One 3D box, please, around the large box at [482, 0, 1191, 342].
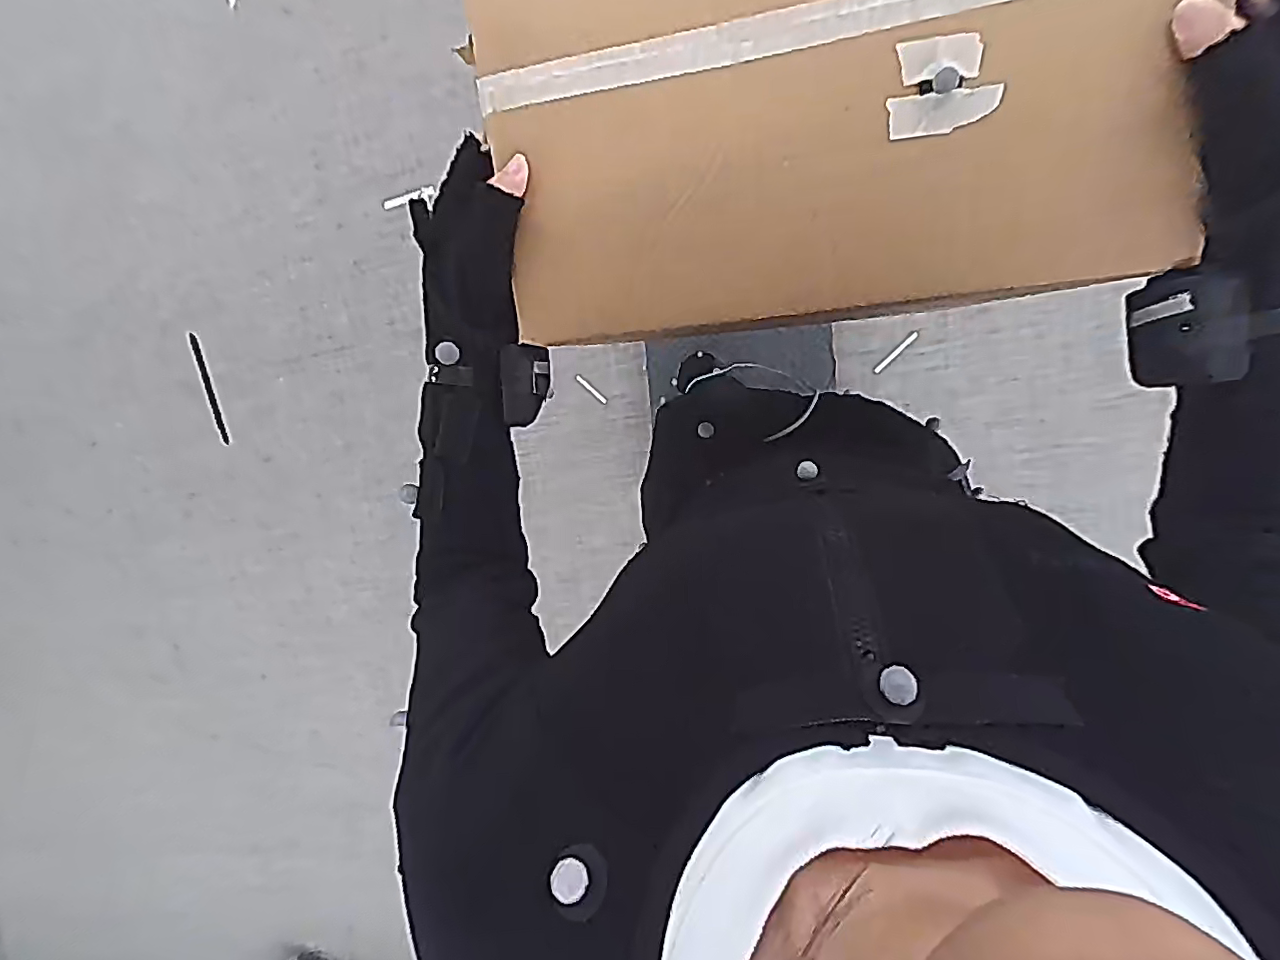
[{"bbox_3d":[0.122,-0.302,0.465,0.408,0.320,0.320,-4,104,11],"label":"large box"}]
